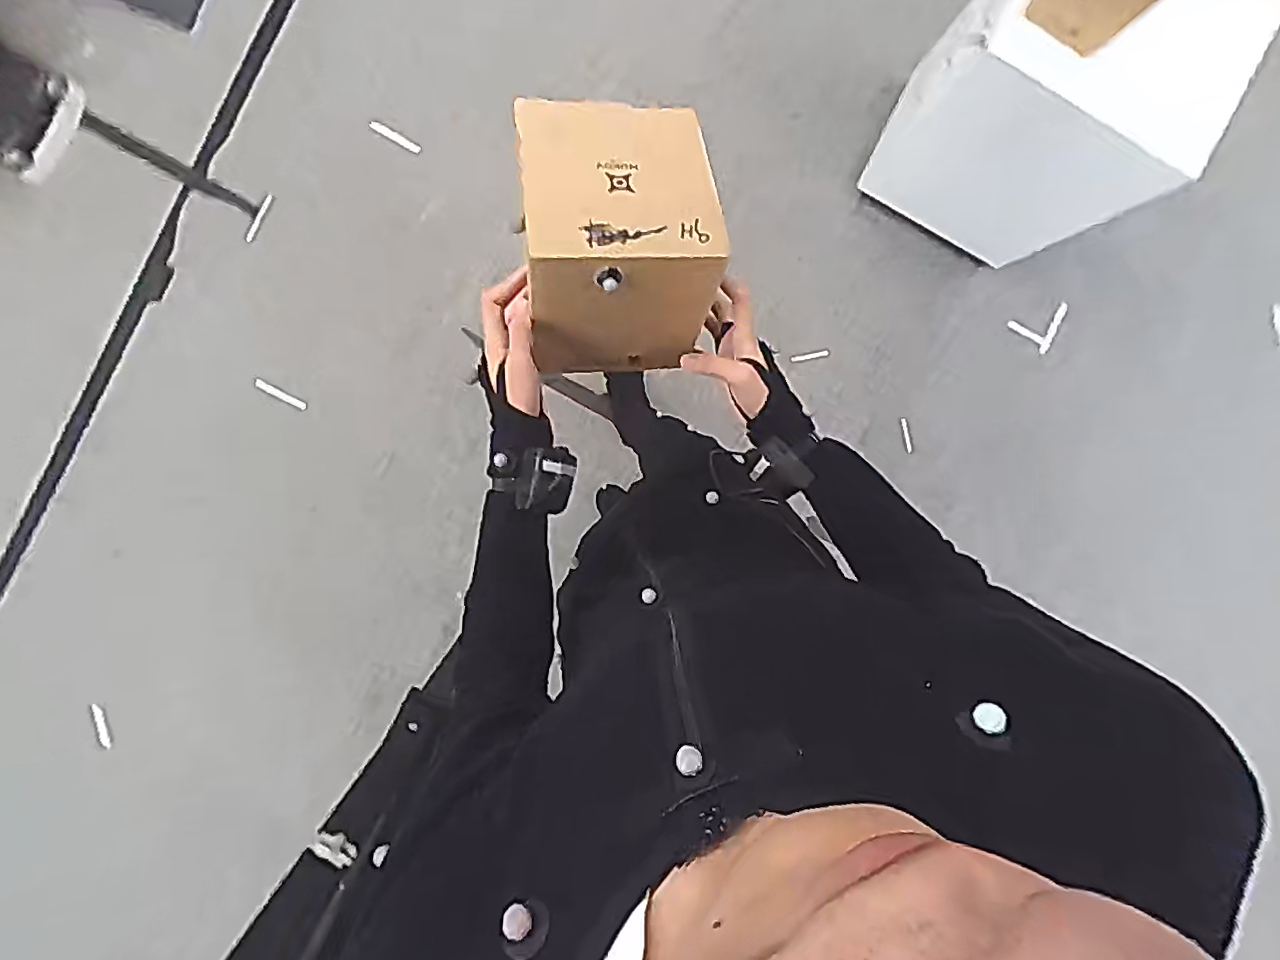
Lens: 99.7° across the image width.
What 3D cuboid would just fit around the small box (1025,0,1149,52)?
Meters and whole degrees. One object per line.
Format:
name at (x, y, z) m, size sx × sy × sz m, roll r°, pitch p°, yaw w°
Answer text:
small box at (0.849, -0.939, 0.977) m, size 0.168 × 0.176 × 0.179 m, roll 27°, pitch 90°, yaw -6°

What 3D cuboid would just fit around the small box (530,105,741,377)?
small box at (-0.020, -0.220, 0.528) m, size 0.168 × 0.176 × 0.179 m, roll -4°, pitch 70°, yaw -11°
